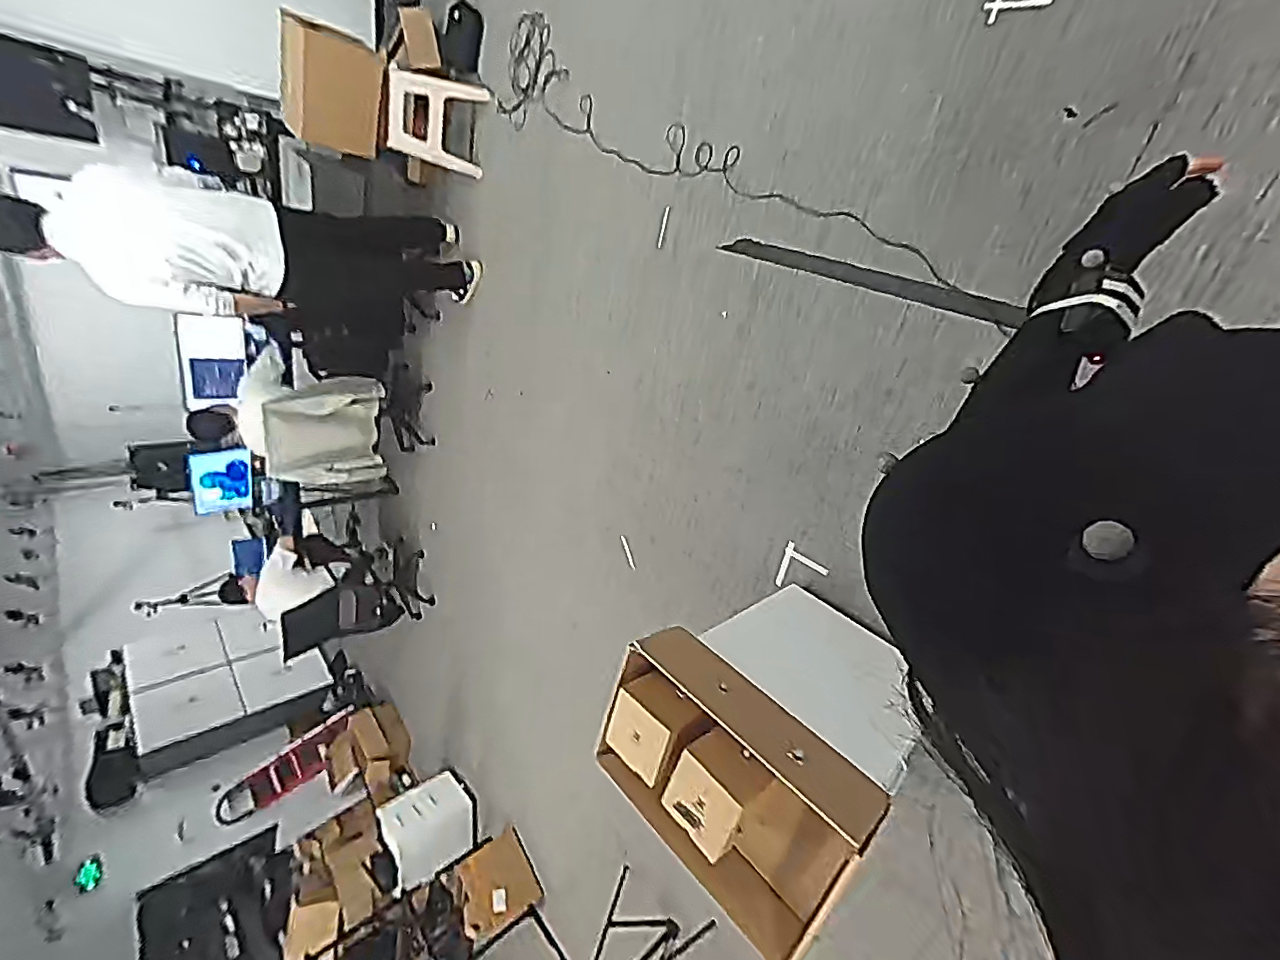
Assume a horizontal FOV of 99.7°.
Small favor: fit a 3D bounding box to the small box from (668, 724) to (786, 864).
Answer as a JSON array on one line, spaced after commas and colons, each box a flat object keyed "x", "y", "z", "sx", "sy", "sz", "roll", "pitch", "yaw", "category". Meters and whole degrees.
[{"x": 0.196, "y": 0.688, "z": 1.203, "sx": 0.168, "sy": 0.176, "sz": 0.179, "roll": 34, "pitch": 116, "yaw": 37, "category": "small box"}]
